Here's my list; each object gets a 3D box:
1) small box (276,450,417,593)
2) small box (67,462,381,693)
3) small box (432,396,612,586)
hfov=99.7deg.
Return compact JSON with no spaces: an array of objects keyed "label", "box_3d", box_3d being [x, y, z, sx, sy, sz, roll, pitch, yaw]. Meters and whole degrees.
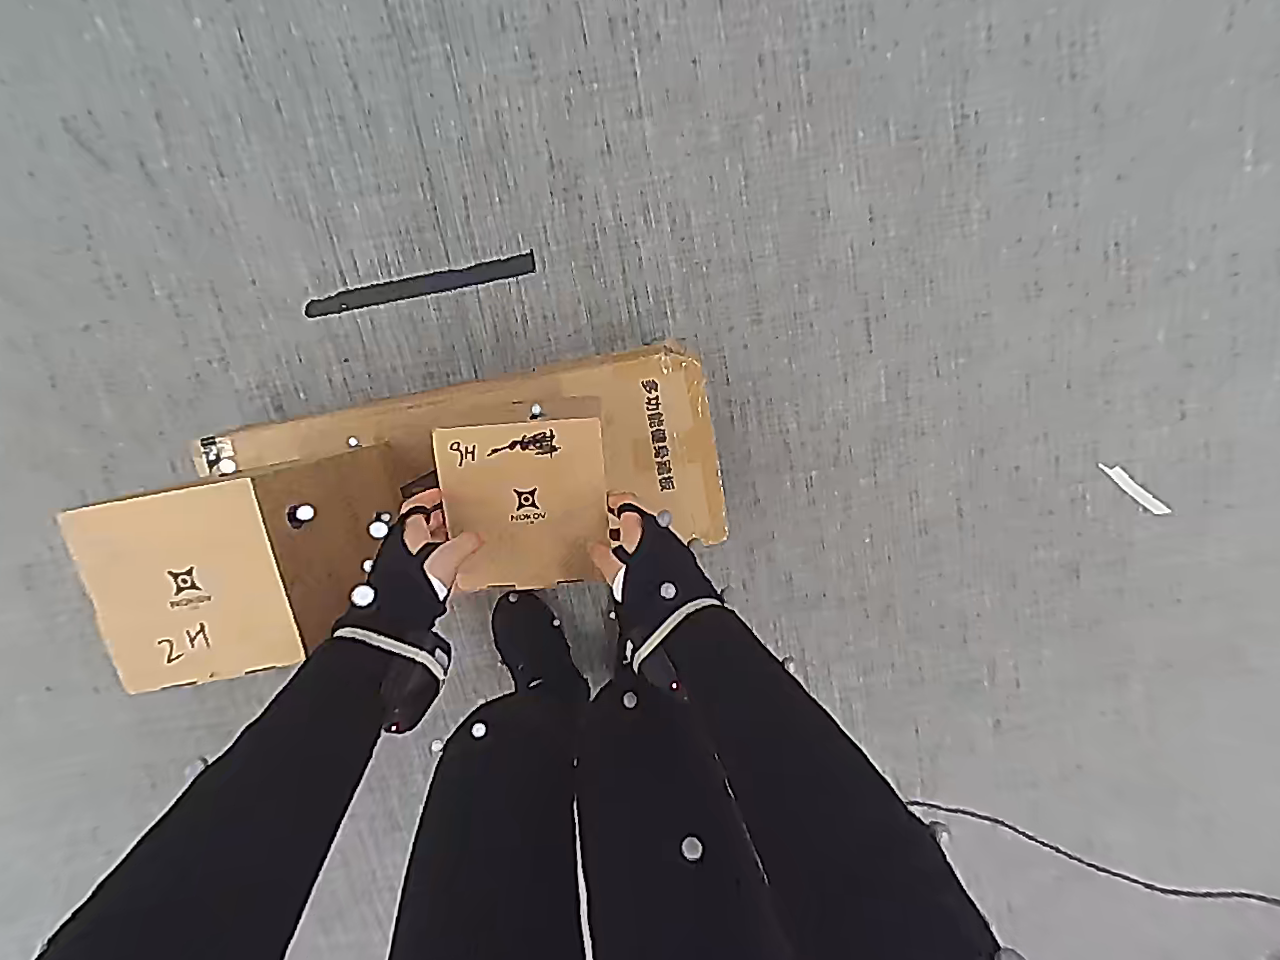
[{"label":"small box","box_3d":[-0.422,0.062,0.716,0.168,0.176,0.179,-12,102,-1]},{"label":"small box","box_3d":[-0.396,0.082,0.553,0.168,0.176,0.179,-10,101,-1]},{"label":"small box","box_3d":[-0.122,0.005,0.634,0.168,0.176,0.179,-3,108,0]}]
